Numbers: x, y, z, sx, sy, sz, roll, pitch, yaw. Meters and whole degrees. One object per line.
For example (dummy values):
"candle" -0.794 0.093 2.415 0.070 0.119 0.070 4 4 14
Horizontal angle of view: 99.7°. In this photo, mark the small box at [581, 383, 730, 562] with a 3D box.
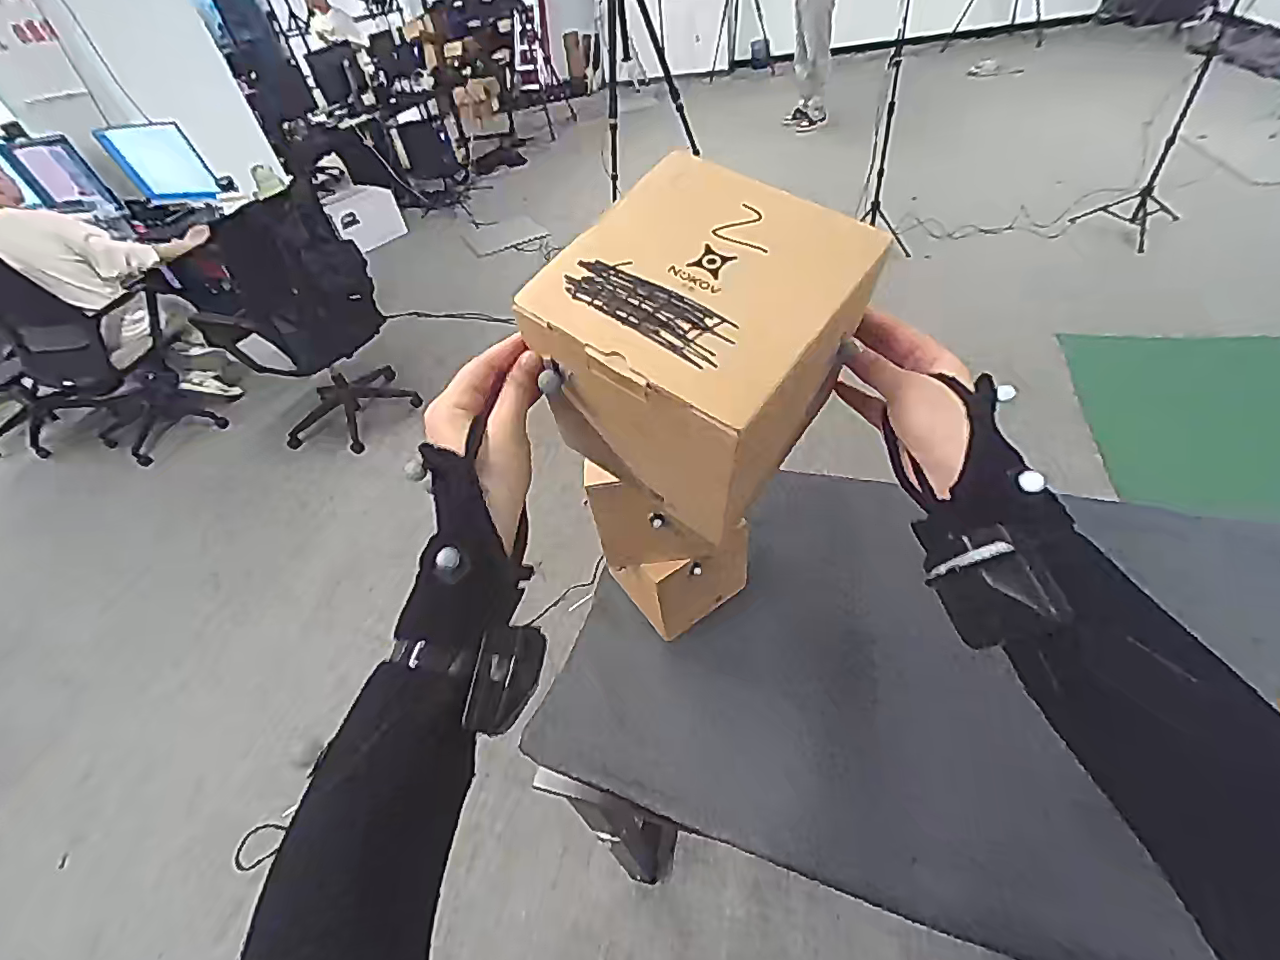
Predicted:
"small box" 0.024 -0.007 0.736 0.179 0.176 0.168 -8 46 4

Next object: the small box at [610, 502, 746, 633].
"small box" 0.049 0.105 0.855 0.168 0.176 0.179 -31 48 -18
